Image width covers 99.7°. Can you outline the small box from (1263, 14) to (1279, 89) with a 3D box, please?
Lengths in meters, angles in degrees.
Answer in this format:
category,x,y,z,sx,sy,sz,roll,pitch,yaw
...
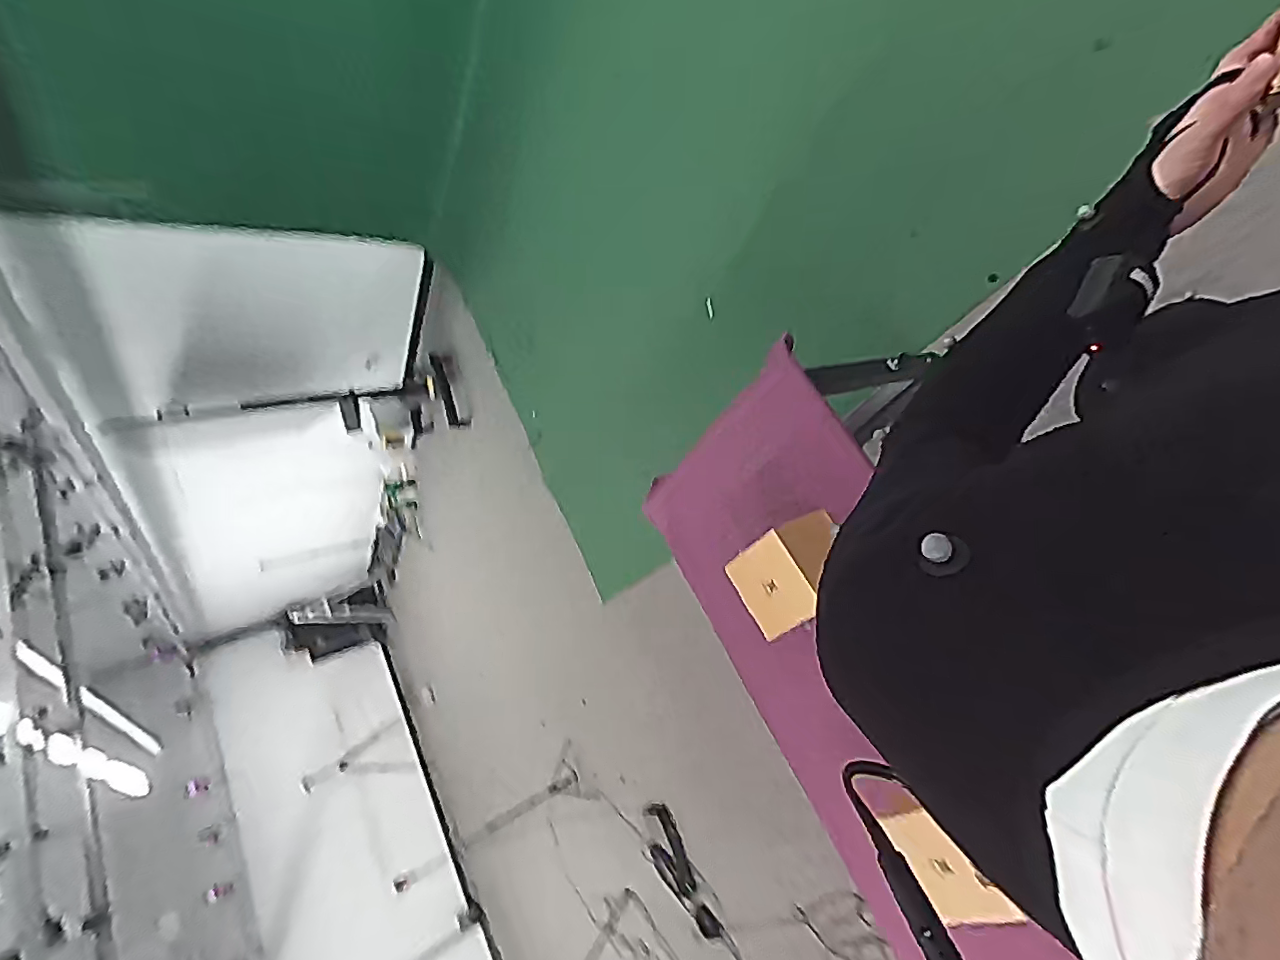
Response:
category,x,y,z,sx,sy,sz,roll,pitch,yaw
small box,0.512,-0.350,0.314,0.168,0.176,0.179,15,121,44

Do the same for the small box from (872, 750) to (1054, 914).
category,x,y,z,sx,sy,sz,roll,pitch,yaw
small box,0.546,0.593,0.919,0.168,0.176,0.179,57,139,23

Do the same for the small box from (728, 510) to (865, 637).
category,x,y,z,sx,sy,sz,roll,pitch,yaw
small box,0.317,0.182,1.079,0.168,0.176,0.179,59,142,20
